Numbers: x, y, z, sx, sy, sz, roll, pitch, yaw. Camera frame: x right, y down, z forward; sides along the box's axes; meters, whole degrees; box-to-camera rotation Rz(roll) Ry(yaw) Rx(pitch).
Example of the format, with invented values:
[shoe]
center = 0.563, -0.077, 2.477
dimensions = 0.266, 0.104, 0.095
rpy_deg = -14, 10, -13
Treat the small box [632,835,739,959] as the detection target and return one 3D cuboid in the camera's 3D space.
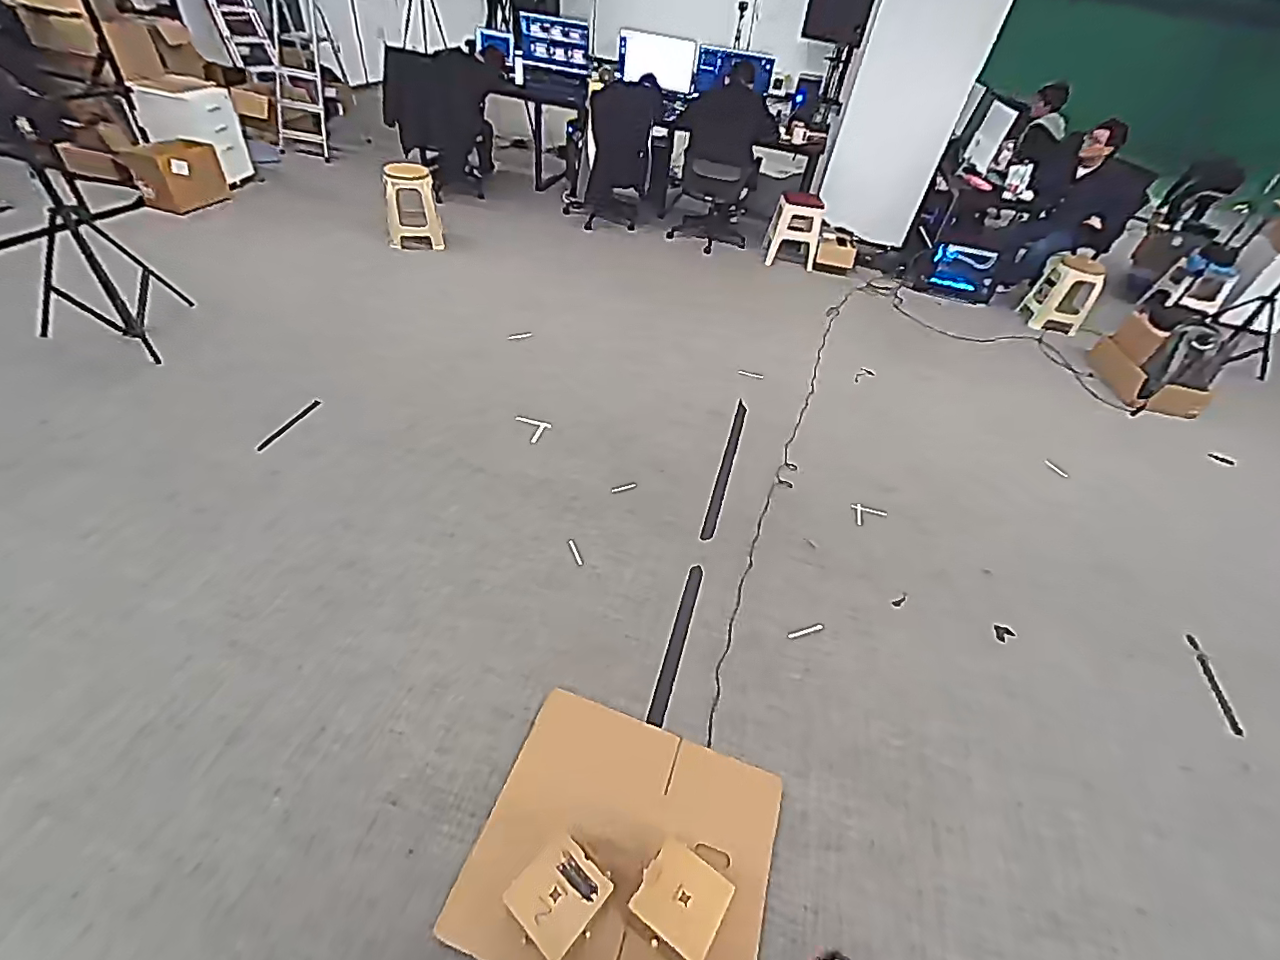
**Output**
[small box]
center = 0.097, 0.946, 1.210
dimensions = 0.179, 0.176, 0.168
rpy_deg = 27, 48, 23
